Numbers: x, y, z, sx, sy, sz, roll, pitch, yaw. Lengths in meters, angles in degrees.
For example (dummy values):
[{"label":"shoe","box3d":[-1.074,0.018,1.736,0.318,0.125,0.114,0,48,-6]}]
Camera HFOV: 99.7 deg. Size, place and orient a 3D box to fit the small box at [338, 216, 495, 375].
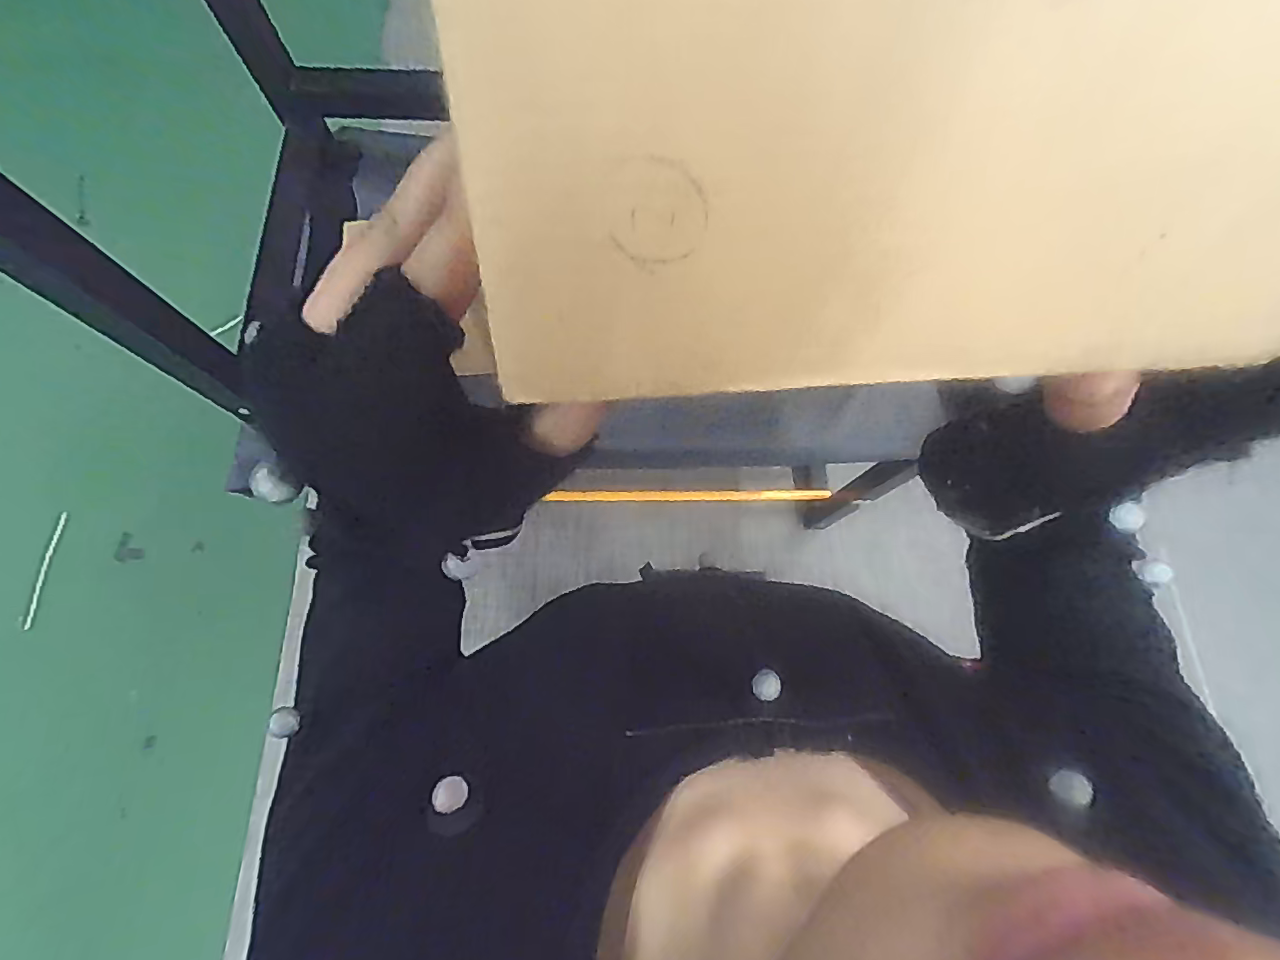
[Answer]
[{"label":"small box","box3d":[-0.328,-0.271,0.824,0.179,0.176,0.168,-5,73,-5]}]
